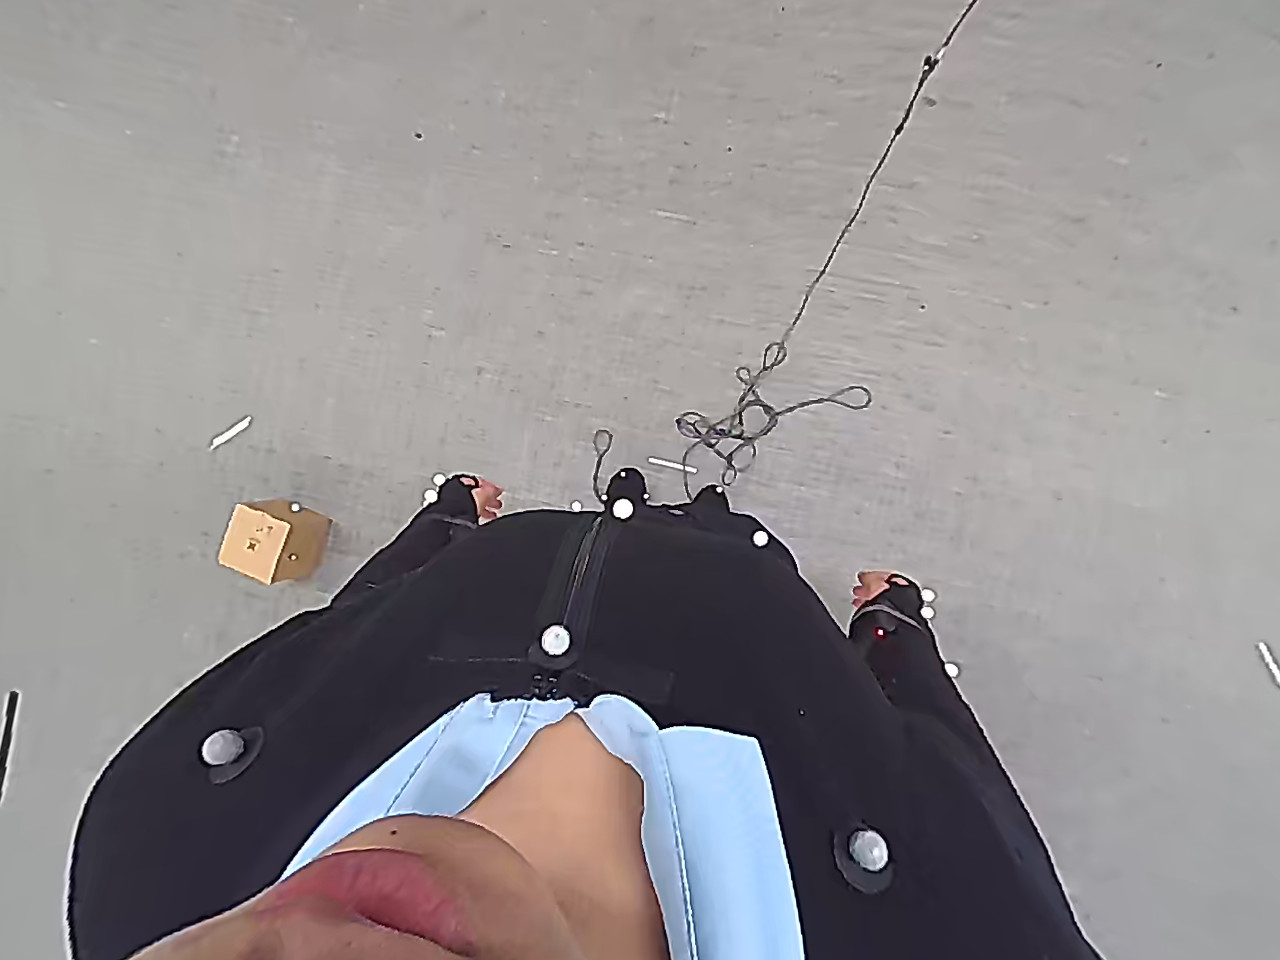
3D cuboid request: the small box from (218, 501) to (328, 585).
[{"bbox_3d":[-1.021,0.169,1.519,0.168,0.176,0.179,22,92,4],"label":"small box"}]
